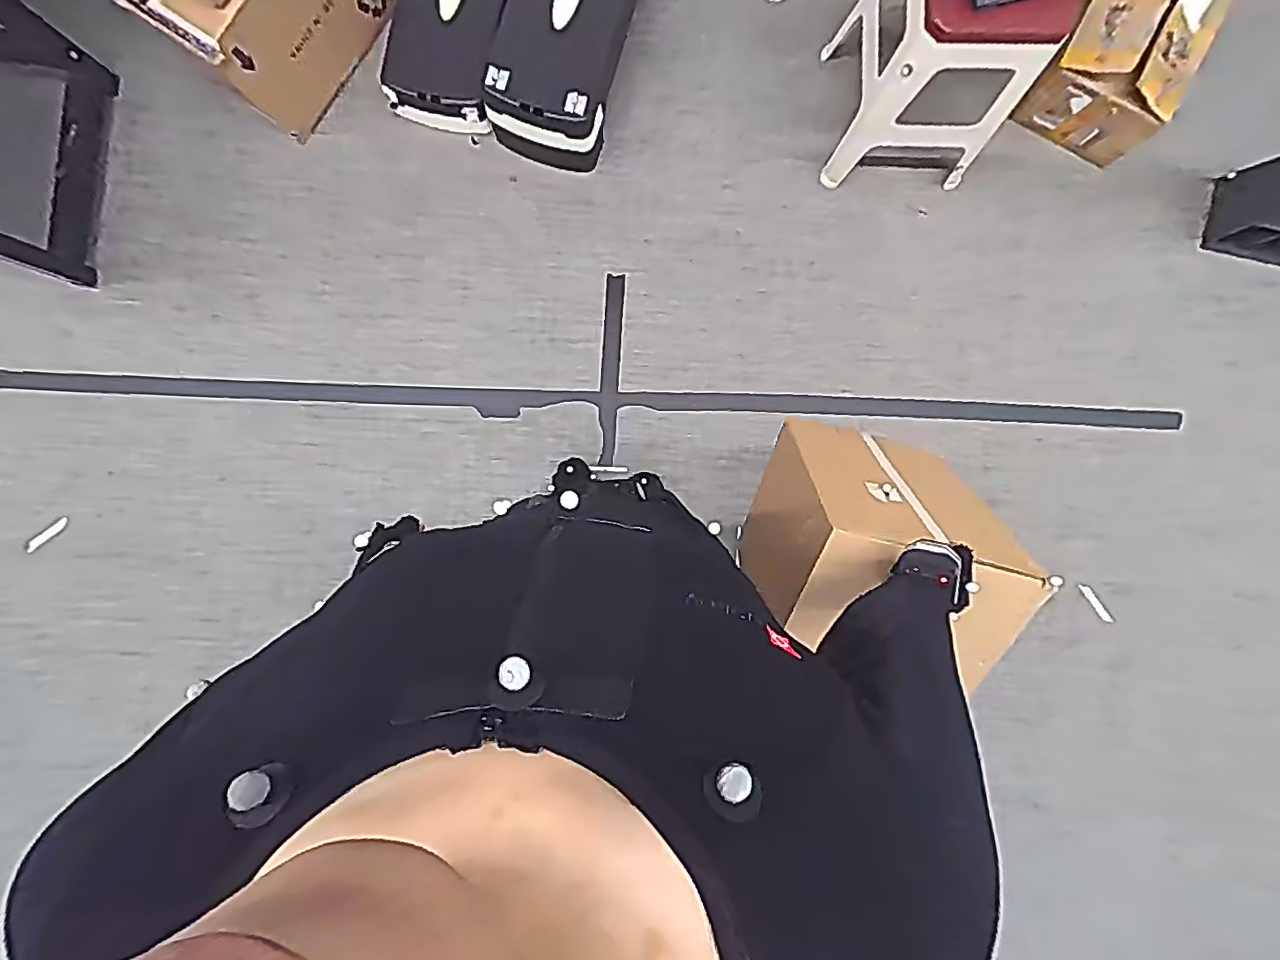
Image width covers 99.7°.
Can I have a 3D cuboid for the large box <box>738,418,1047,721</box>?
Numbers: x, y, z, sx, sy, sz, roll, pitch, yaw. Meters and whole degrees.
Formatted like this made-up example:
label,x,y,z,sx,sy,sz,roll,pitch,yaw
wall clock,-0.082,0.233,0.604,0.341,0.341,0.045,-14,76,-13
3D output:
label,x,y,z,sx,sy,sz,roll,pitch,yaw
large box,0.385,0.138,0.969,0.320,0.408,0.320,14,120,-2
